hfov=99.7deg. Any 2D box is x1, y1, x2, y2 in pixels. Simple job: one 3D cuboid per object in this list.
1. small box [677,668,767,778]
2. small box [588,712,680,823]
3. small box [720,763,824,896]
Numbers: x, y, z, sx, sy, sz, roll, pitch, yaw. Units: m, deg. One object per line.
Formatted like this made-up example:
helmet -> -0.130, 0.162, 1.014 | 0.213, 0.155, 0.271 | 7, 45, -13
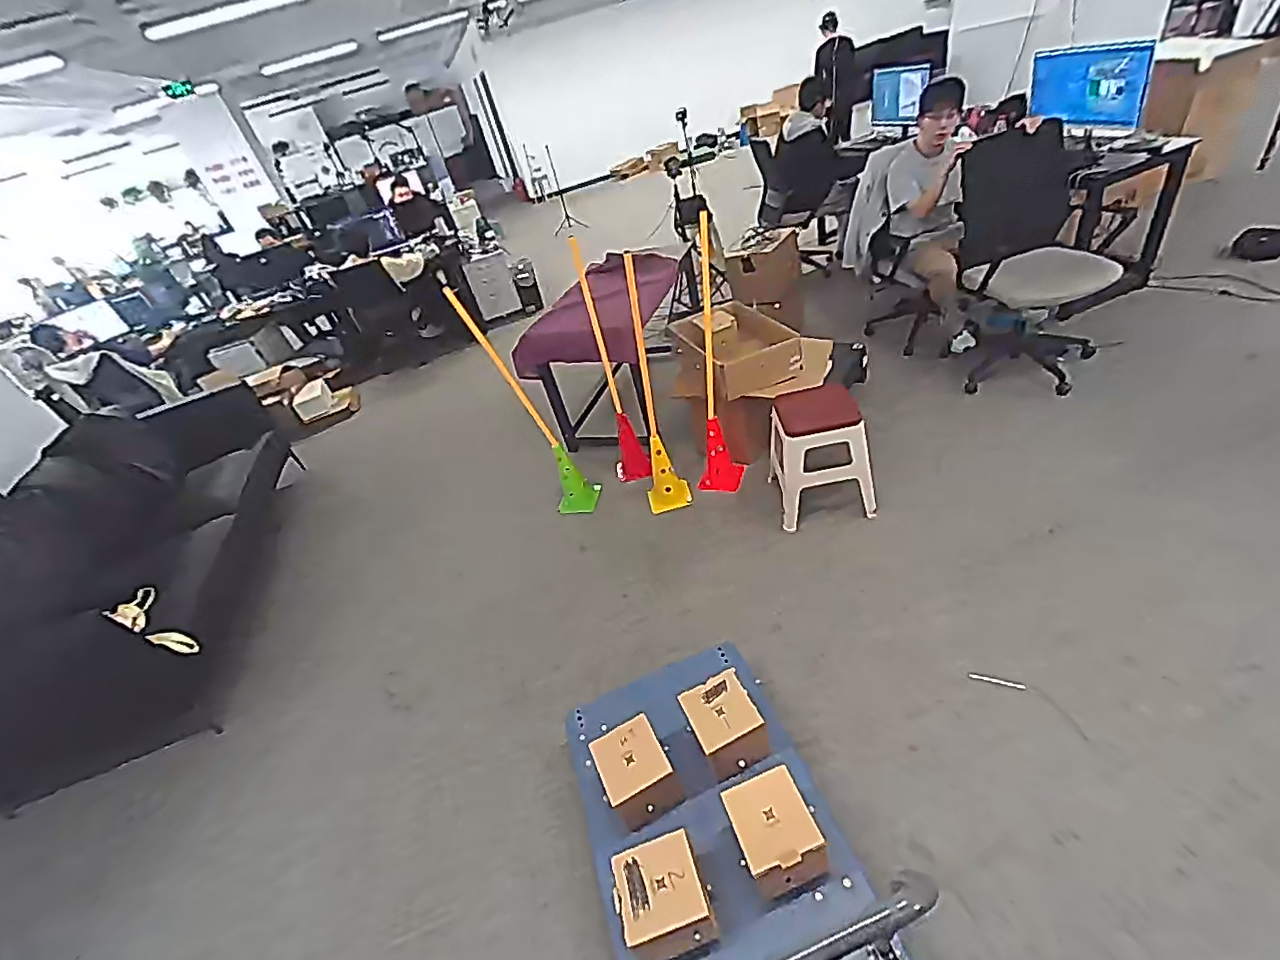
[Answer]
small box -> 0.218, 0.644, 1.435 | 0.168, 0.176, 0.179 | -25, 38, -9
small box -> -0.013, 0.747, 1.395 | 0.168, 0.176, 0.179 | -25, 38, -12
small box -> 0.298, 0.789, 1.223 | 0.168, 0.176, 0.179 | -22, 37, -6
